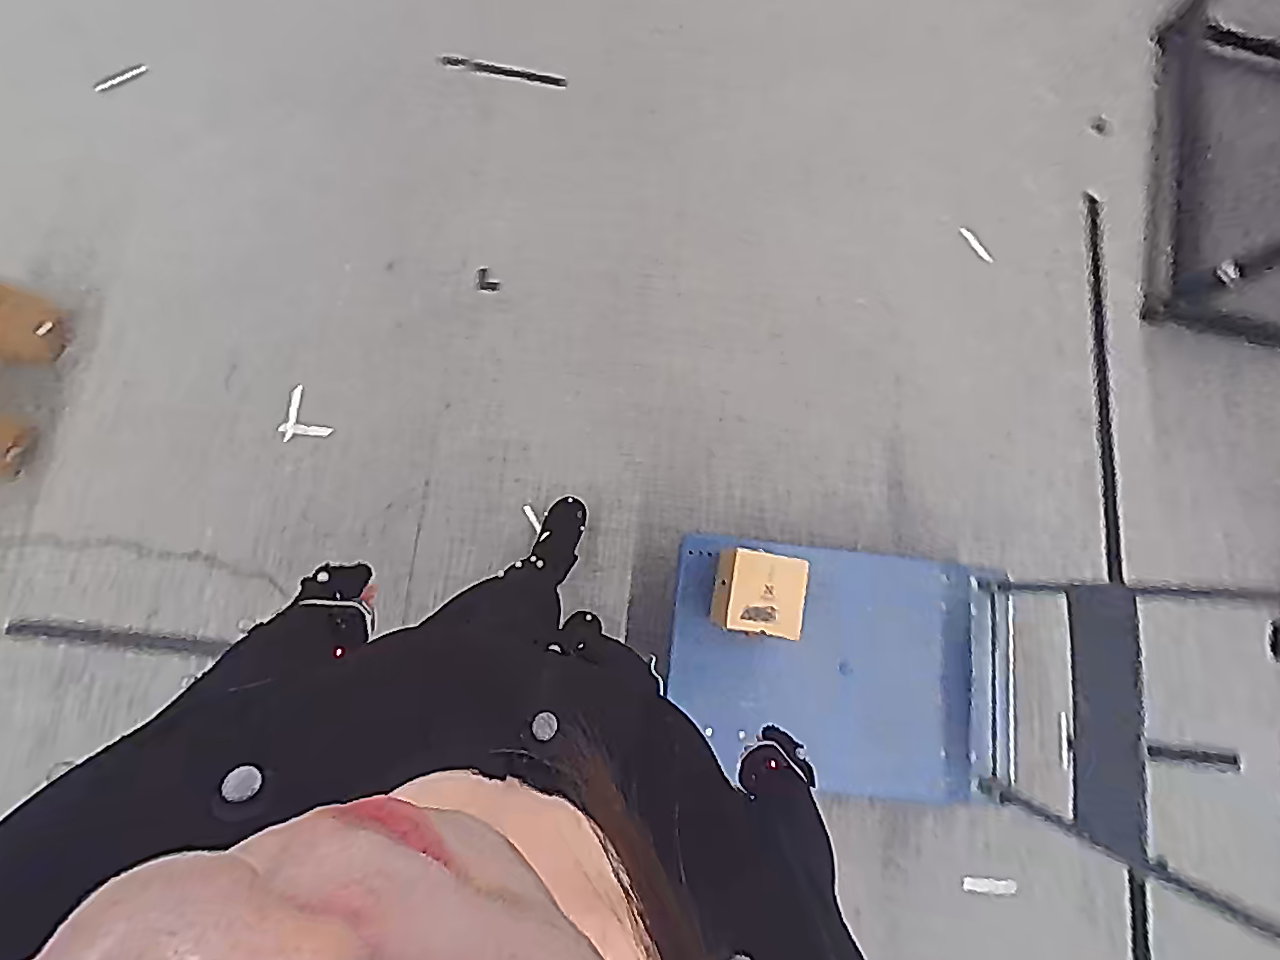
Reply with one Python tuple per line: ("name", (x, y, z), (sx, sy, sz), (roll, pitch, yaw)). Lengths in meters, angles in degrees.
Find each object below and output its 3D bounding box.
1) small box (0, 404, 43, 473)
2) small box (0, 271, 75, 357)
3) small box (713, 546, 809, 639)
("small box", (-1.698, -0.120, 1.361), (0.179, 0.176, 0.168), (9, 81, -3))
("small box", (-1.663, -0.435, 1.413), (0.179, 0.176, 0.168), (5, 81, -4))
("small box", (0.274, 0.259, 1.263), (0.168, 0.176, 0.179), (12, 80, -3))
